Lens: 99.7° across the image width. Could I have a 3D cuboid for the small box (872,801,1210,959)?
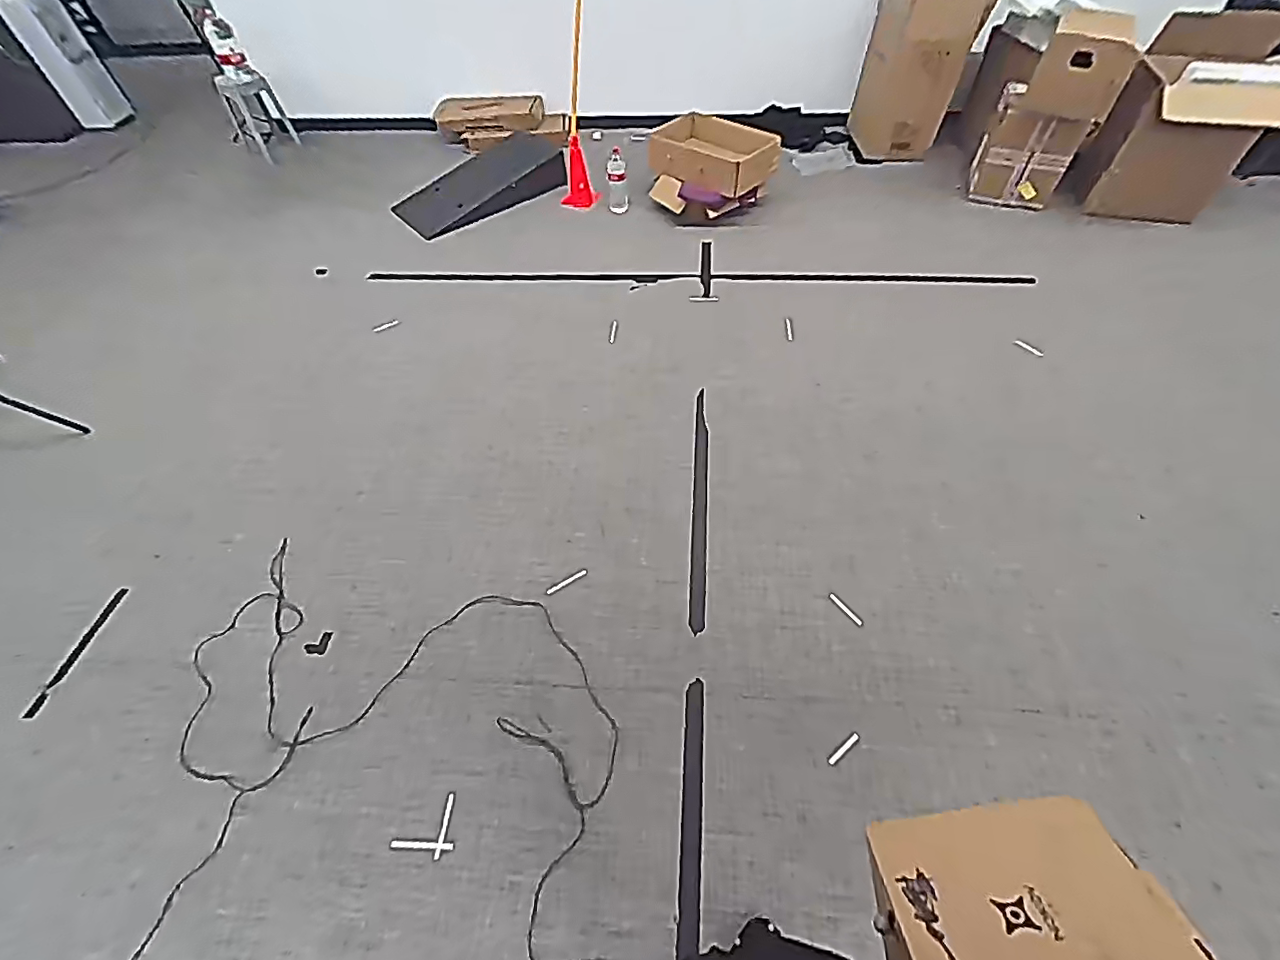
[{"bbox_3d":[0.297,0.384,0.409,0.179,0.176,0.168,-12,16,8],"label":"small box"}]
